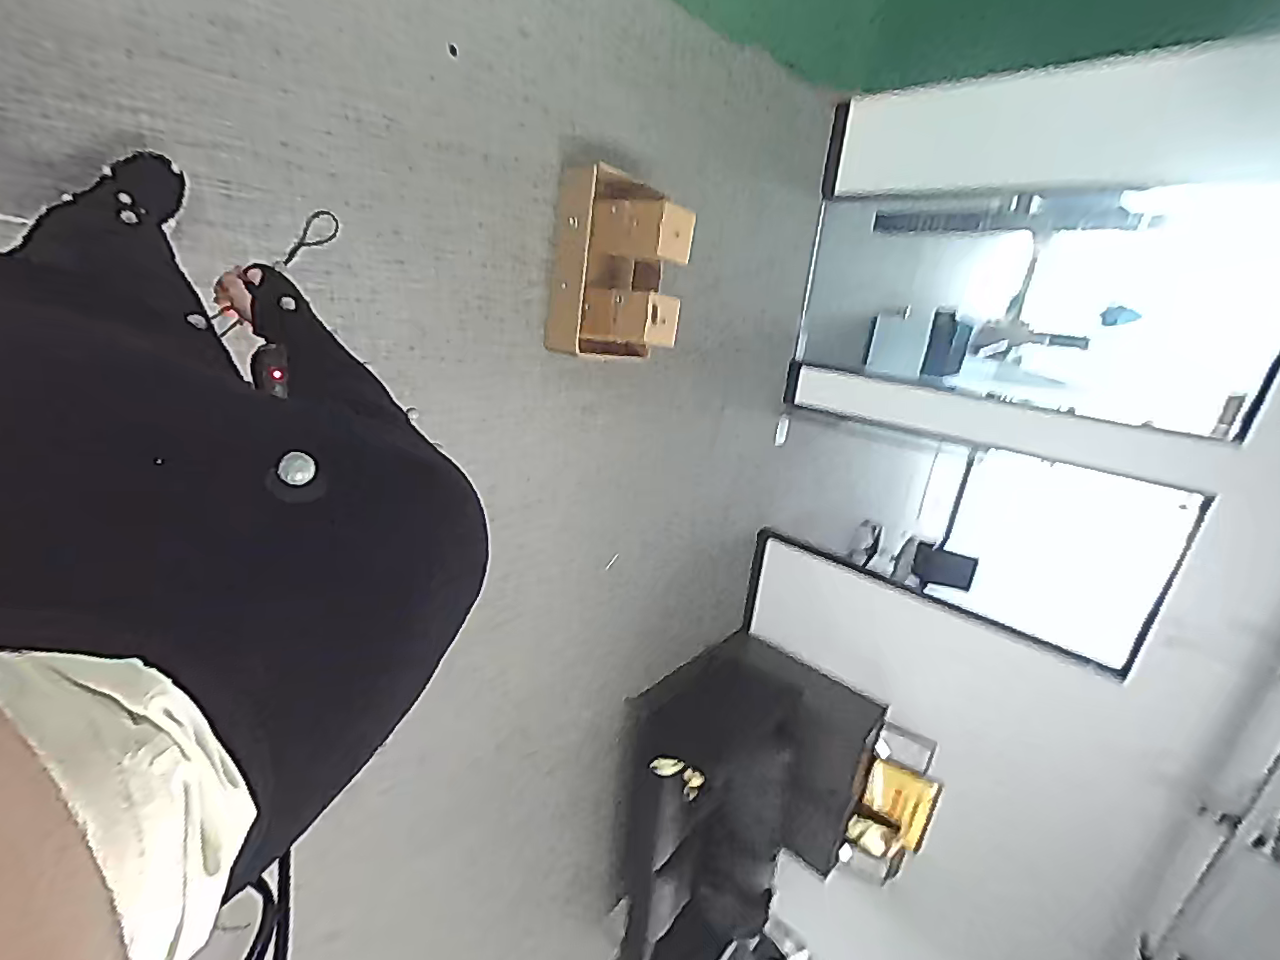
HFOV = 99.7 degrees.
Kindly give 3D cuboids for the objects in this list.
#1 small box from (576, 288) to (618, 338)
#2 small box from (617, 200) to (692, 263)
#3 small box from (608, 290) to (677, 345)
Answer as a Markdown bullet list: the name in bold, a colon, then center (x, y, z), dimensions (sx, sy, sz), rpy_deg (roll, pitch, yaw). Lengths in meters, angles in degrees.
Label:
- **small box**: center (-0.116, -0.622, 2.022), dimensions (0.179, 0.176, 0.168), rpy_deg (-11, 113, -48)
- **small box**: center (0.047, -0.848, 1.848), dimensions (0.179, 0.176, 0.168), rpy_deg (-11, 116, -49)
- **small box**: center (0.006, -0.578, 1.922), dimensions (0.179, 0.176, 0.168), rpy_deg (-9, 112, -50)
